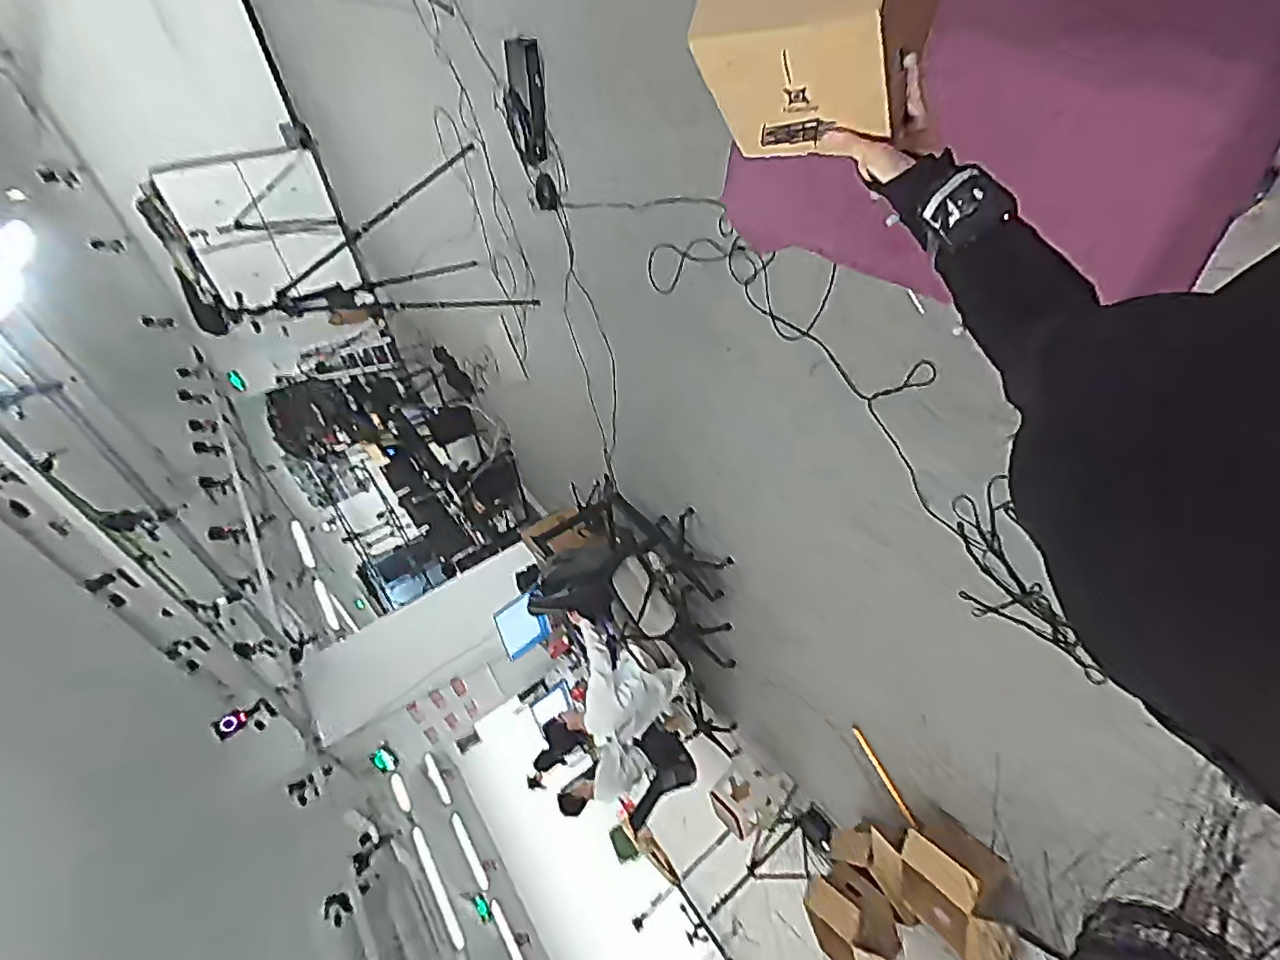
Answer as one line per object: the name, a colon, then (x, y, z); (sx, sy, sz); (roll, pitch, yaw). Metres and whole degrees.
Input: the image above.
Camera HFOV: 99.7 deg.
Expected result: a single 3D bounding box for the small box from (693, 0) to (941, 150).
small box: (0.173, -0.435, 0.494); (0.168, 0.179, 0.176); (17, 95, 27)
